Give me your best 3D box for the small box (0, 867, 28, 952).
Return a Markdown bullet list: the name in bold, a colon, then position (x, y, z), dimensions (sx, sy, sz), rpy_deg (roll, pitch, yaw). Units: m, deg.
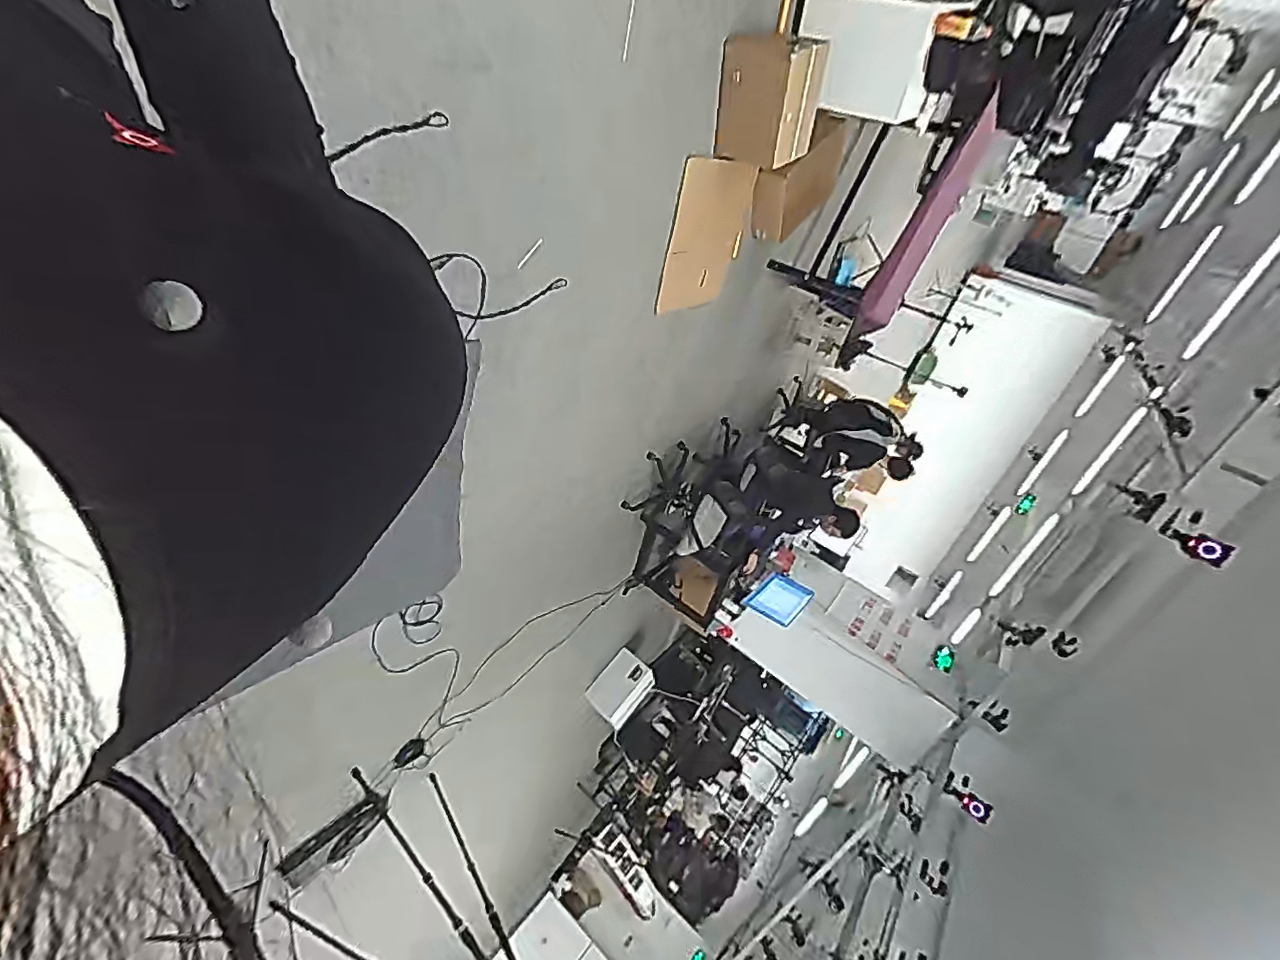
- **small box**: position (-0.655, 0.339, 0.419), dimensions (0.179, 0.176, 0.168), rpy_deg (-31, 145, -45)
